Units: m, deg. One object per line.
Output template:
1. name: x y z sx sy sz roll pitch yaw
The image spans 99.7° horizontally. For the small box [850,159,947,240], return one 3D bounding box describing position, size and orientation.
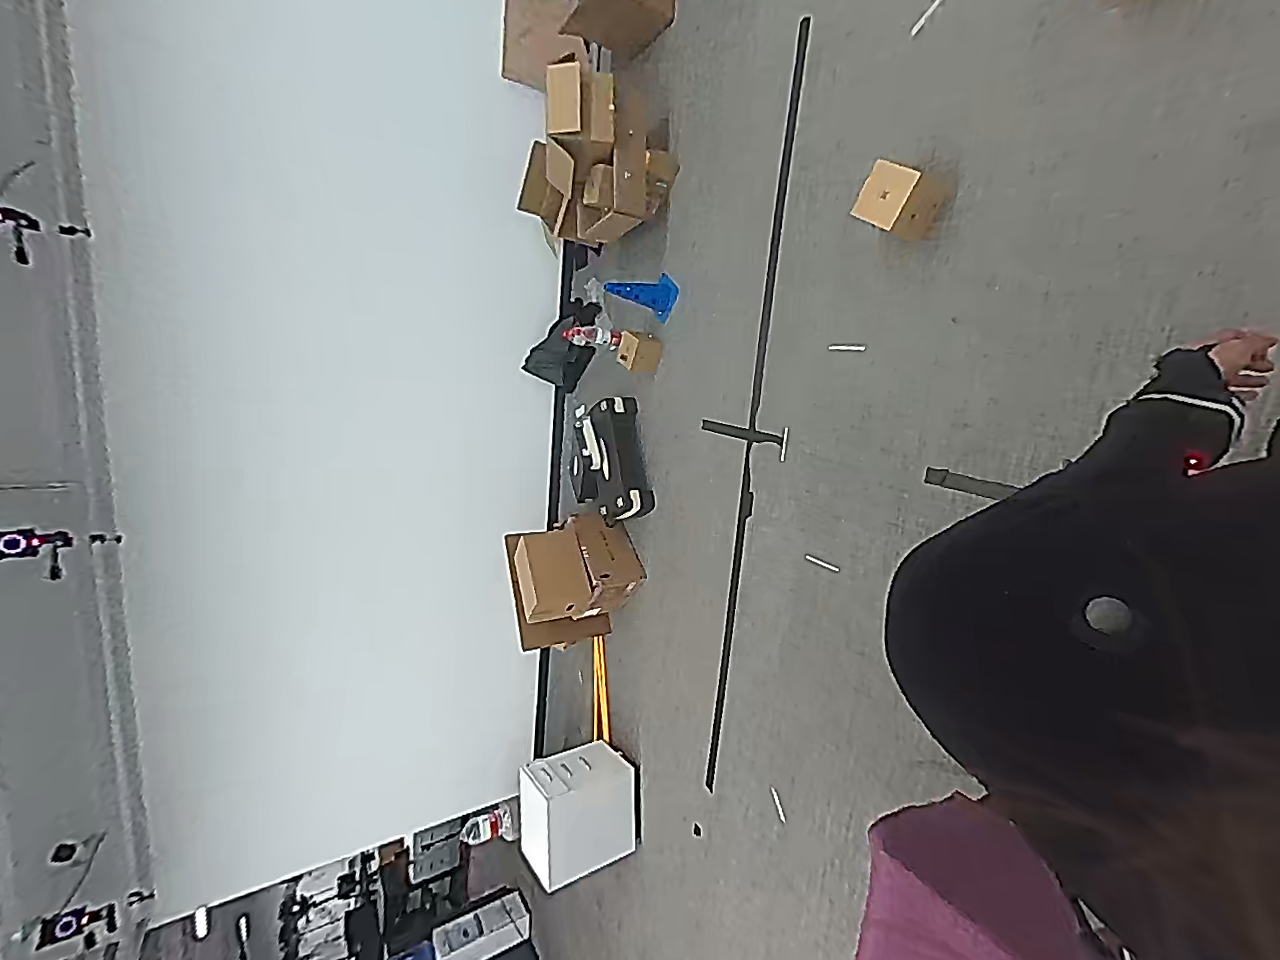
1. small box: 0.800 -0.860 1.669 0.179 0.176 0.168 55 134 41
